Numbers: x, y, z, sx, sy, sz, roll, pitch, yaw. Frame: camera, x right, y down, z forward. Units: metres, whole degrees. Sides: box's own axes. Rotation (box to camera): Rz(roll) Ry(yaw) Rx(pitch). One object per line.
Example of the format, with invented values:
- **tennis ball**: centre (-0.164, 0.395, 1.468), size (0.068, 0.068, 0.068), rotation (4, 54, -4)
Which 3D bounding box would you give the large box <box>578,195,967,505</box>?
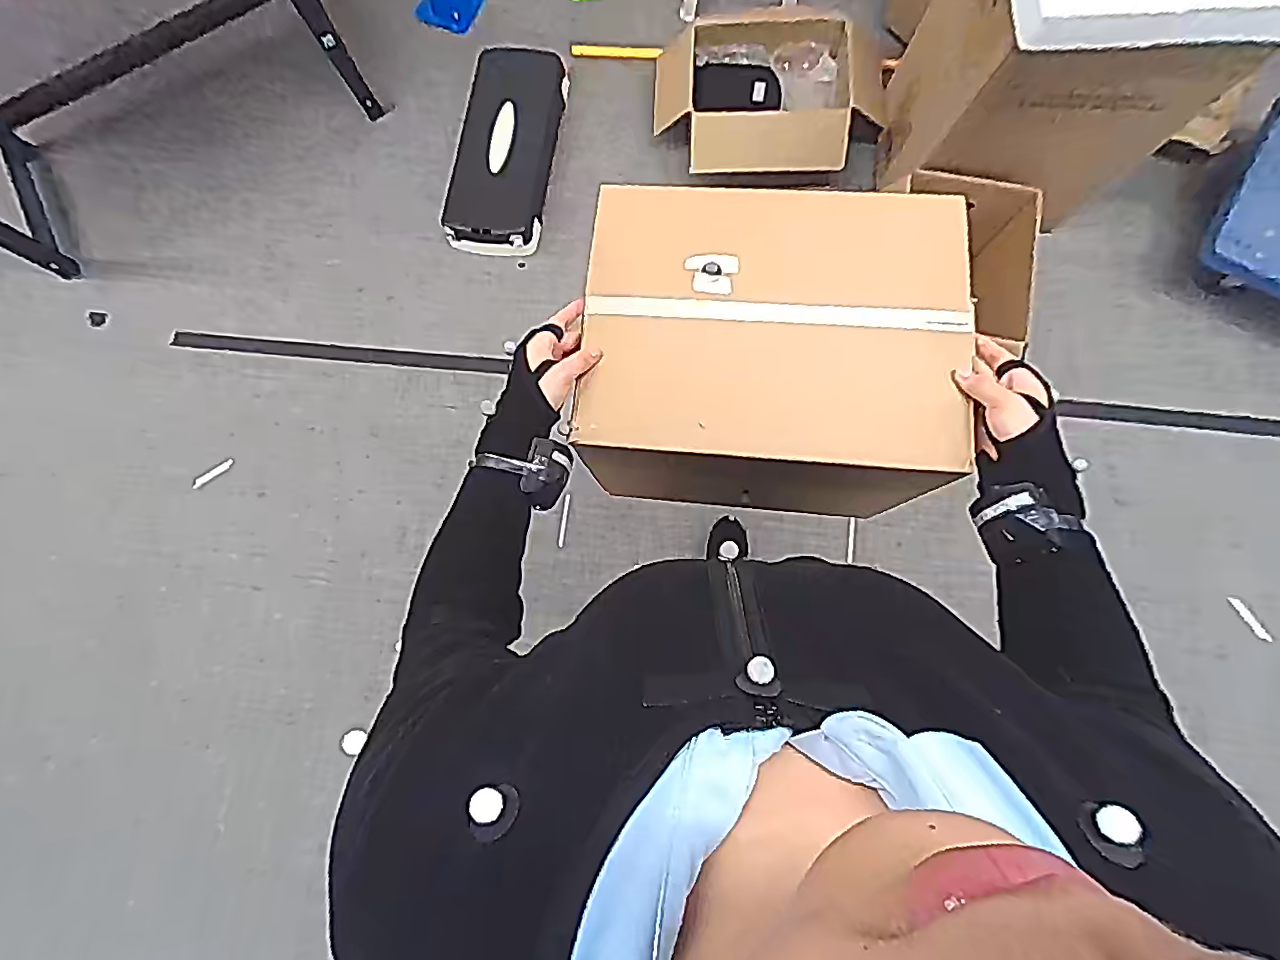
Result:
- **large box**: centre (0.155, -0.146, 0.734), size (0.408, 0.320, 0.320), rotation (3, 77, 6)
